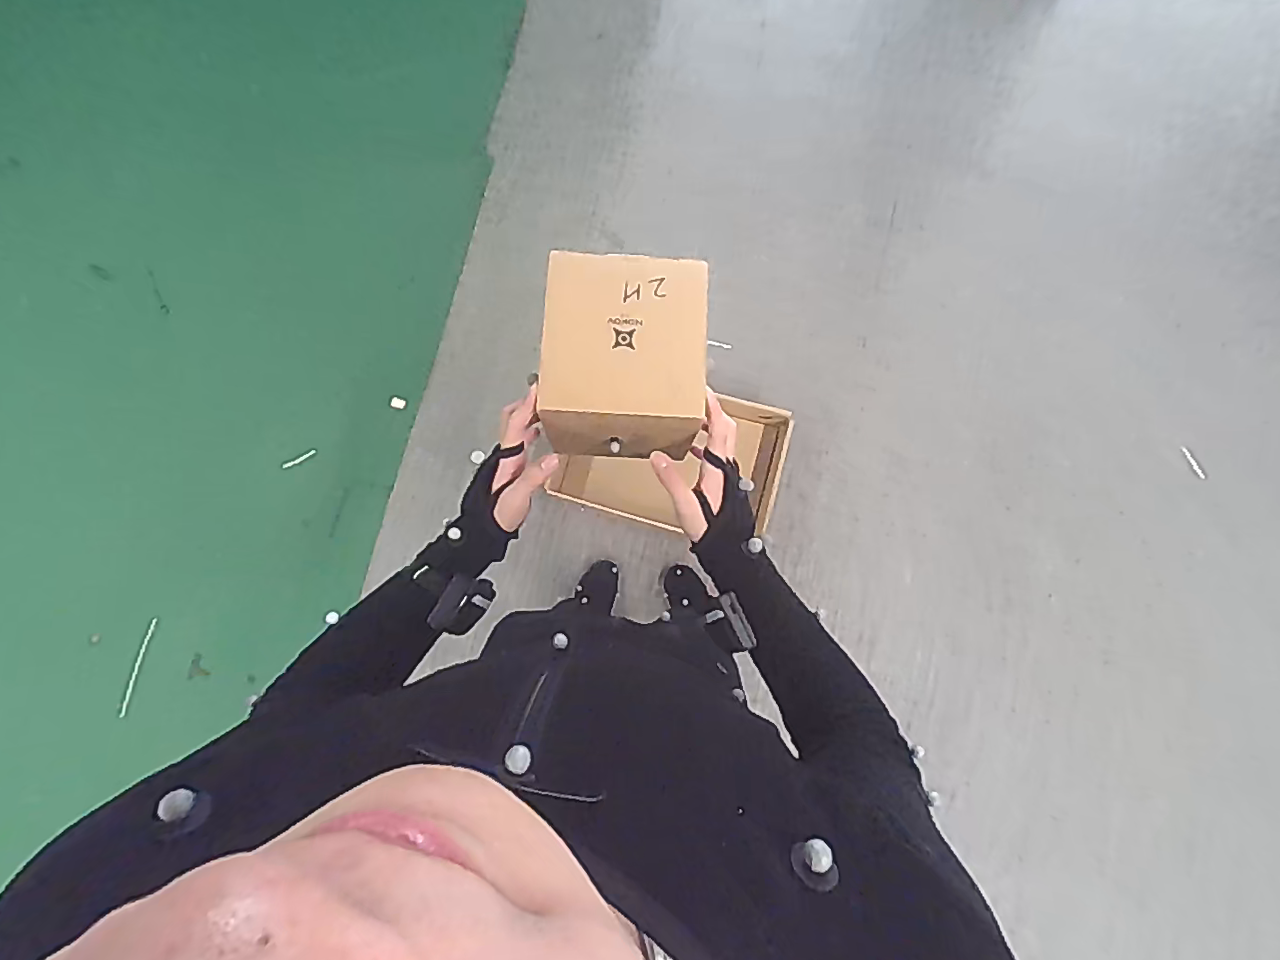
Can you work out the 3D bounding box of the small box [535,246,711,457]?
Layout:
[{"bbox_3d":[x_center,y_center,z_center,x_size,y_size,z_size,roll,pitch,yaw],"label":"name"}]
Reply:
[{"bbox_3d":[-0.018,-0.130,0.607,0.168,0.176,0.179,3,77,-3],"label":"small box"}]
